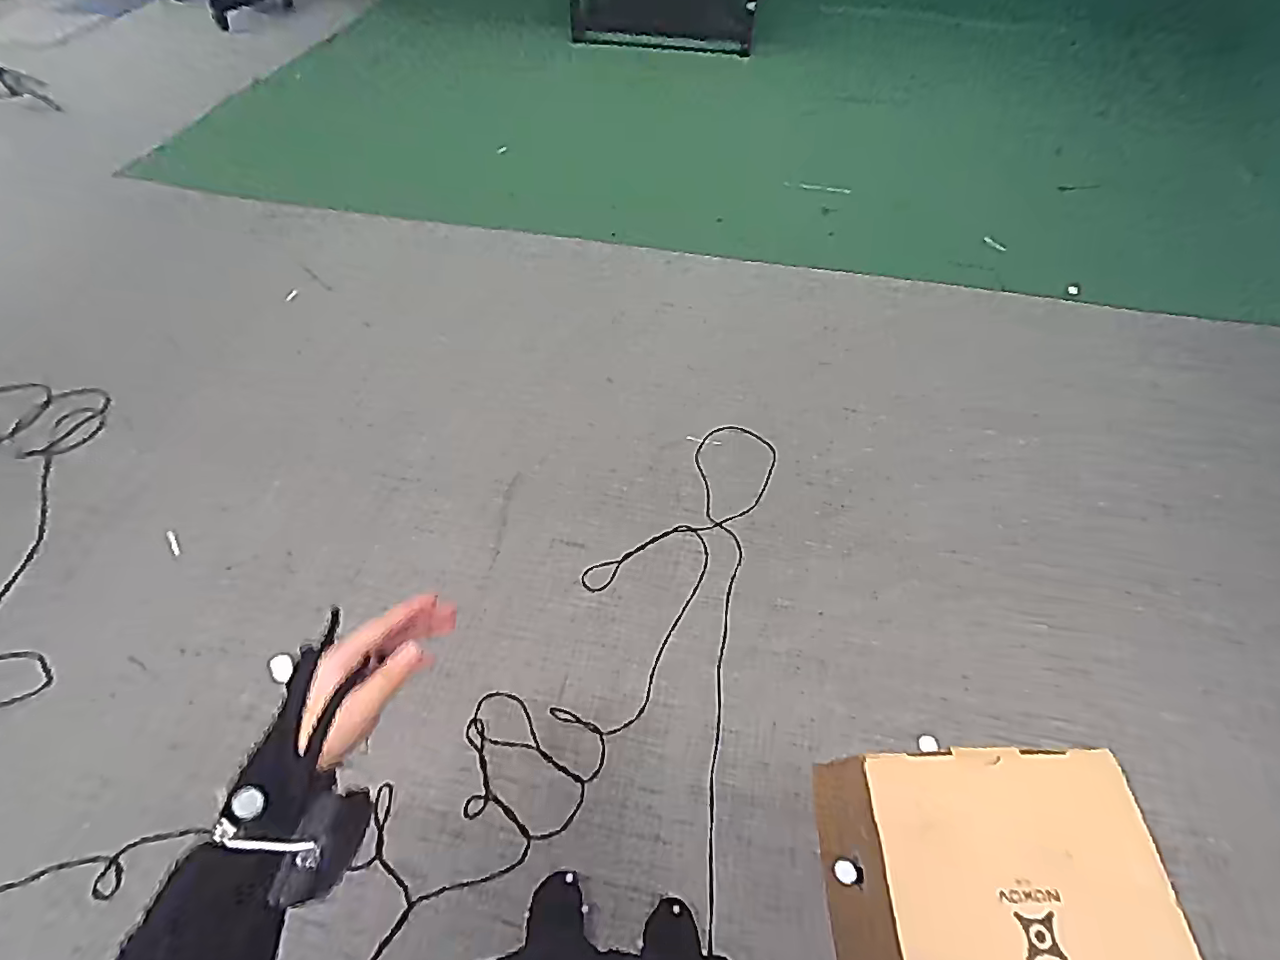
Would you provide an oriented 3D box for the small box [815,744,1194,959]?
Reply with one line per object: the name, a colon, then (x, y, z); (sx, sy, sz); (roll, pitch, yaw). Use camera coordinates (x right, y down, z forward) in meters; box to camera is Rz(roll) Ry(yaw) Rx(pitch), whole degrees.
small box: (0.238, 0.298, 0.393); (0.168, 0.176, 0.179); (-3, 59, 2)
